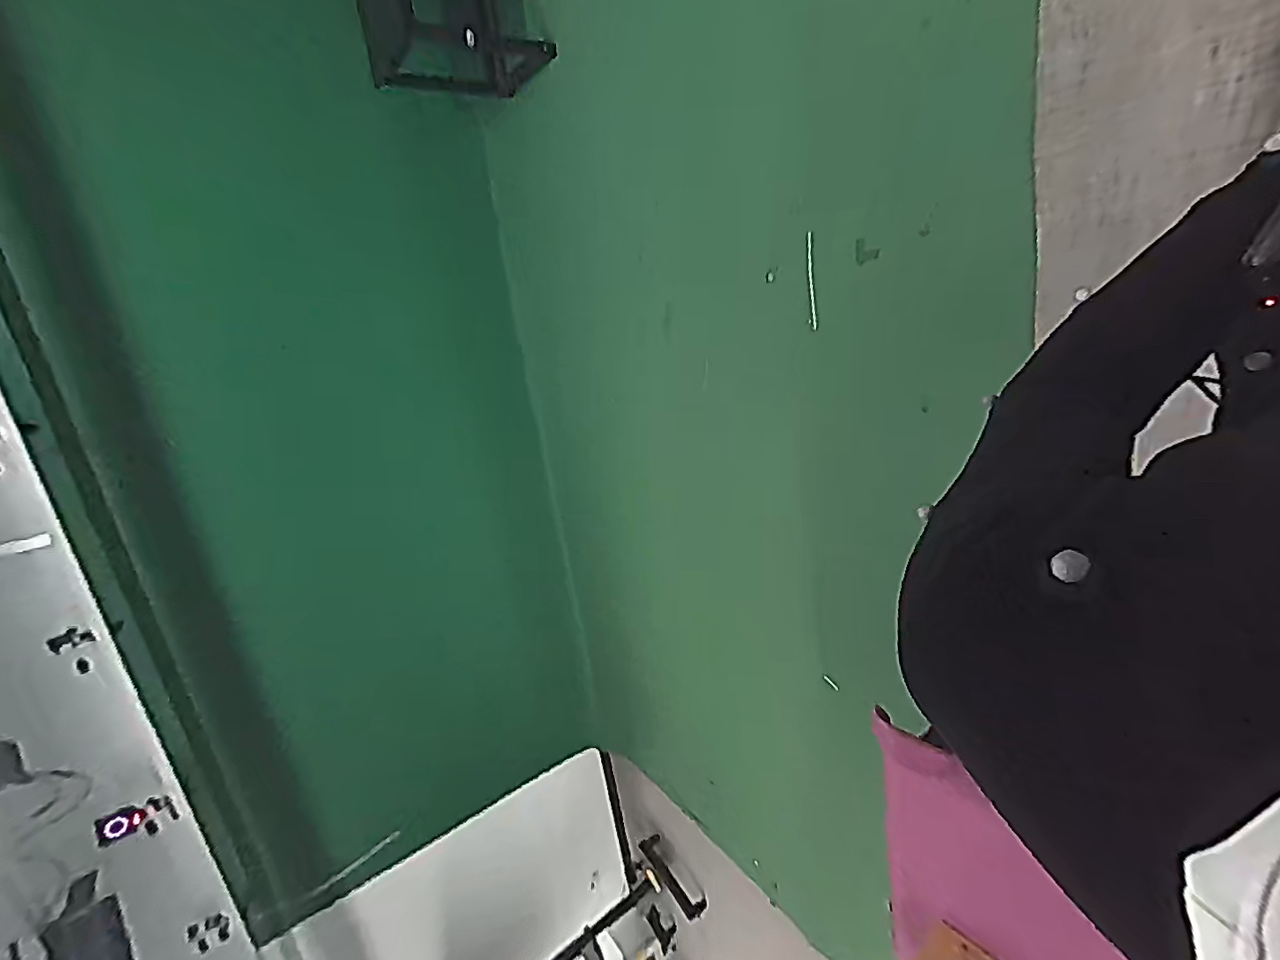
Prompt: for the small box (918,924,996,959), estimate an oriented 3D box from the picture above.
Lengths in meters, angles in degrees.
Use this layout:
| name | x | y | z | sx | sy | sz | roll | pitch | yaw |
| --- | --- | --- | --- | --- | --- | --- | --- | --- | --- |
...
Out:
| name | x | y | z | sx | sy | sz | roll | pitch | yaw |
| --- | --- | --- | --- | --- | --- | --- | --- | --- | --- |
| small box | 0.661 | 1.077 | 1.095 | 0.168 | 0.176 | 0.179 | 11 | 115 | 51 |
